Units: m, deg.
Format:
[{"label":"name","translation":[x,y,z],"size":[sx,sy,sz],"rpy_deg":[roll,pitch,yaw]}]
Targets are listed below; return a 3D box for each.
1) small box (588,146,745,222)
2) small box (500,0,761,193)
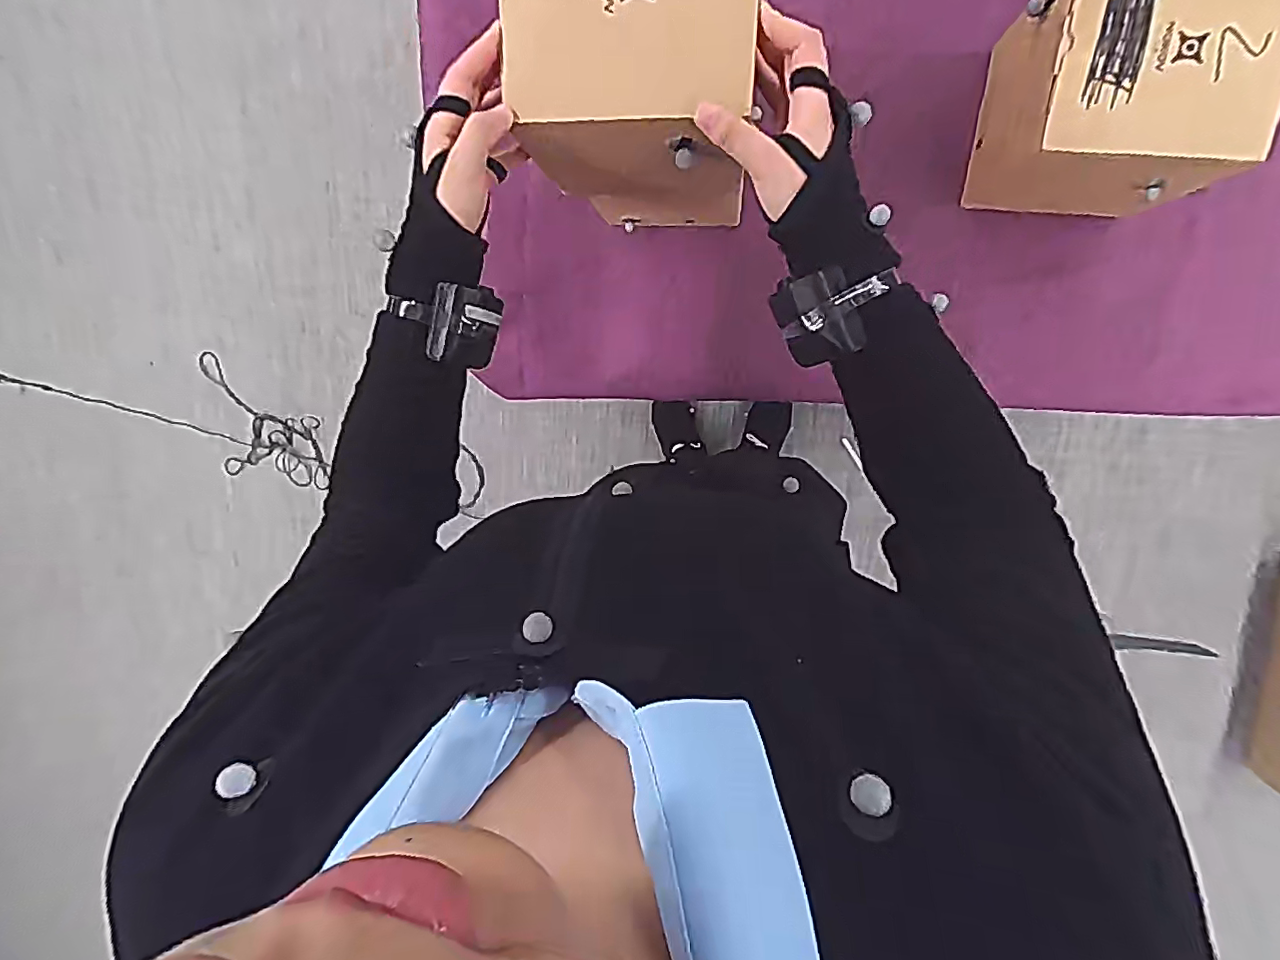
[{"label":"small box","translation":[0.031,-0.390,0.583],"size":[0.168,0.176,0.179],"rpy_deg":[4,101,8]},{"label":"small box","translation":[0.002,-0.341,0.428],"size":[0.179,0.176,0.168],"rpy_deg":[4,102,8]}]
